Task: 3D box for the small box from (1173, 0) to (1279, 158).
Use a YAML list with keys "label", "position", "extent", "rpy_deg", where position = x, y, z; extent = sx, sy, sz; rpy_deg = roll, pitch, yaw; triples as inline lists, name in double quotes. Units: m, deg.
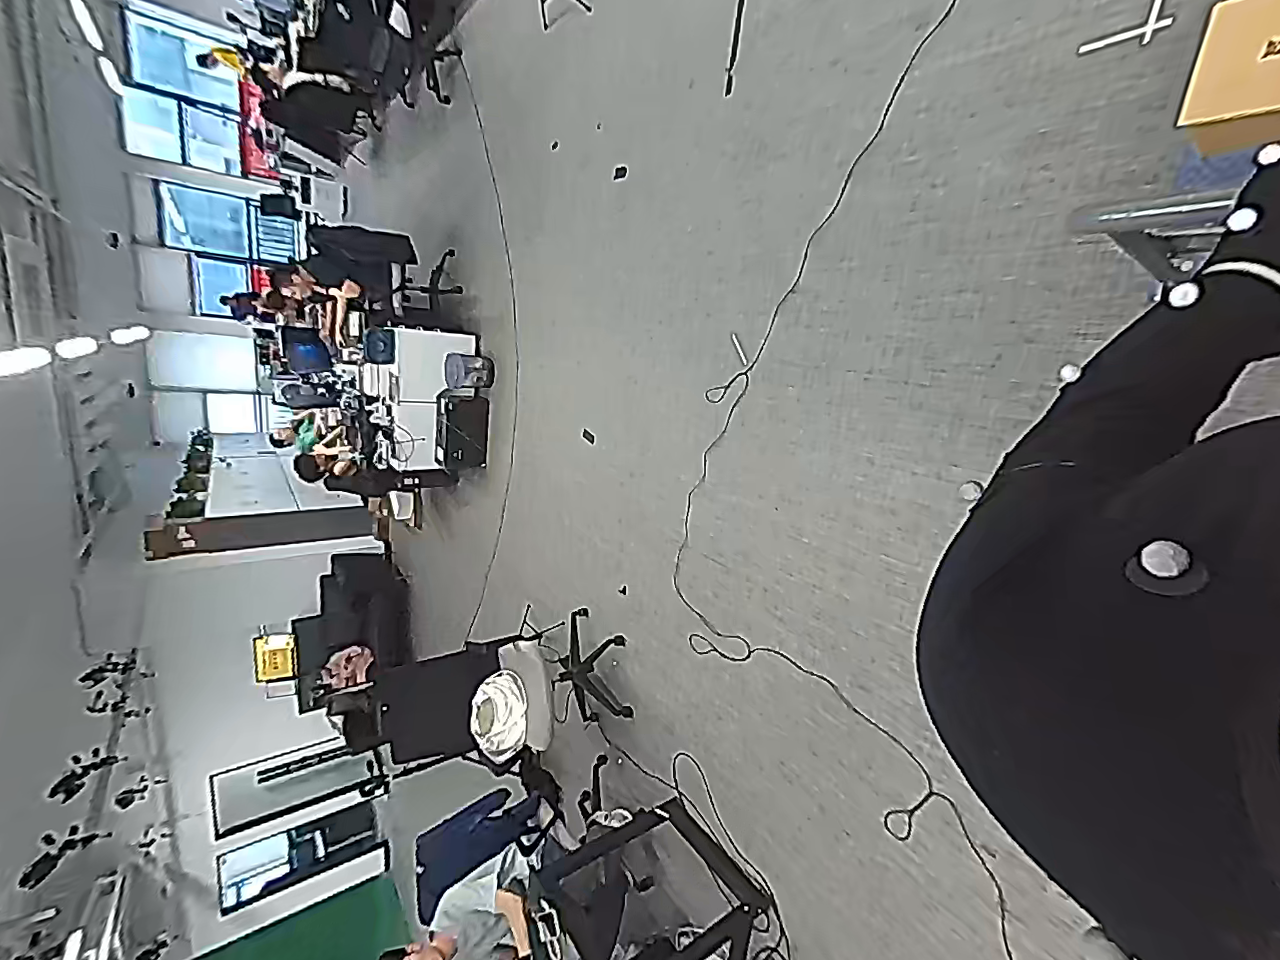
- label: "small box"
  position: [0.956, -0.608, 0.810]
  extent: [0.179, 0.176, 0.168]
  rpy_deg: [22, 110, 48]
